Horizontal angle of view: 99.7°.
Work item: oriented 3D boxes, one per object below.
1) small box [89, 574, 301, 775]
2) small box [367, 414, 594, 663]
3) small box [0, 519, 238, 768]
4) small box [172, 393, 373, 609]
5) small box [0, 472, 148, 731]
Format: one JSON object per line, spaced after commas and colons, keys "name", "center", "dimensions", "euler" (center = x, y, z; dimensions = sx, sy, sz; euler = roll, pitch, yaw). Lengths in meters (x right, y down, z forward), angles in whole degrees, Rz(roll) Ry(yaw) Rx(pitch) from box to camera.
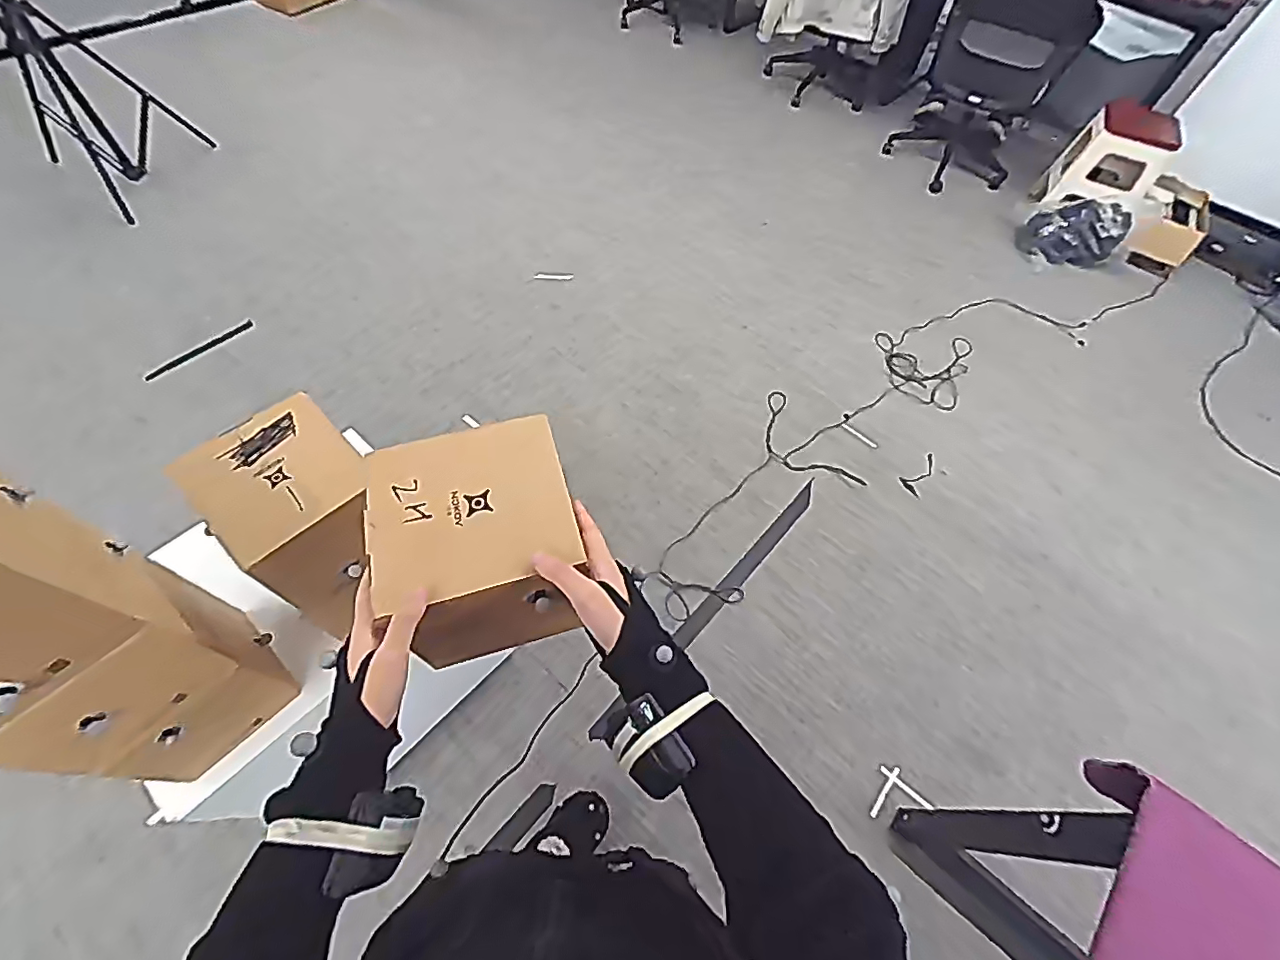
{"name": "small box", "center": [-0.600, 0.263, 0.714], "dimensions": [0.179, 0.176, 0.168], "euler": [39, 64, 19]}
{"name": "small box", "center": [-0.147, 0.063, 0.538], "dimensions": [0.179, 0.176, 0.168], "euler": [-14, 59, -10]}
{"name": "small box", "center": [-0.586, 0.179, 0.576], "dimensions": [0.179, 0.176, 0.168], "euler": [38, 63, 17]}
{"name": "small box", "center": [-0.414, 0.032, 0.678], "dimensions": [0.179, 0.176, 0.168], "euler": [41, 65, 17]}
{"name": "small box", "center": [-0.574, 0.094, 0.439], "dimensions": [0.179, 0.176, 0.168], "euler": [38, 64, 16]}
